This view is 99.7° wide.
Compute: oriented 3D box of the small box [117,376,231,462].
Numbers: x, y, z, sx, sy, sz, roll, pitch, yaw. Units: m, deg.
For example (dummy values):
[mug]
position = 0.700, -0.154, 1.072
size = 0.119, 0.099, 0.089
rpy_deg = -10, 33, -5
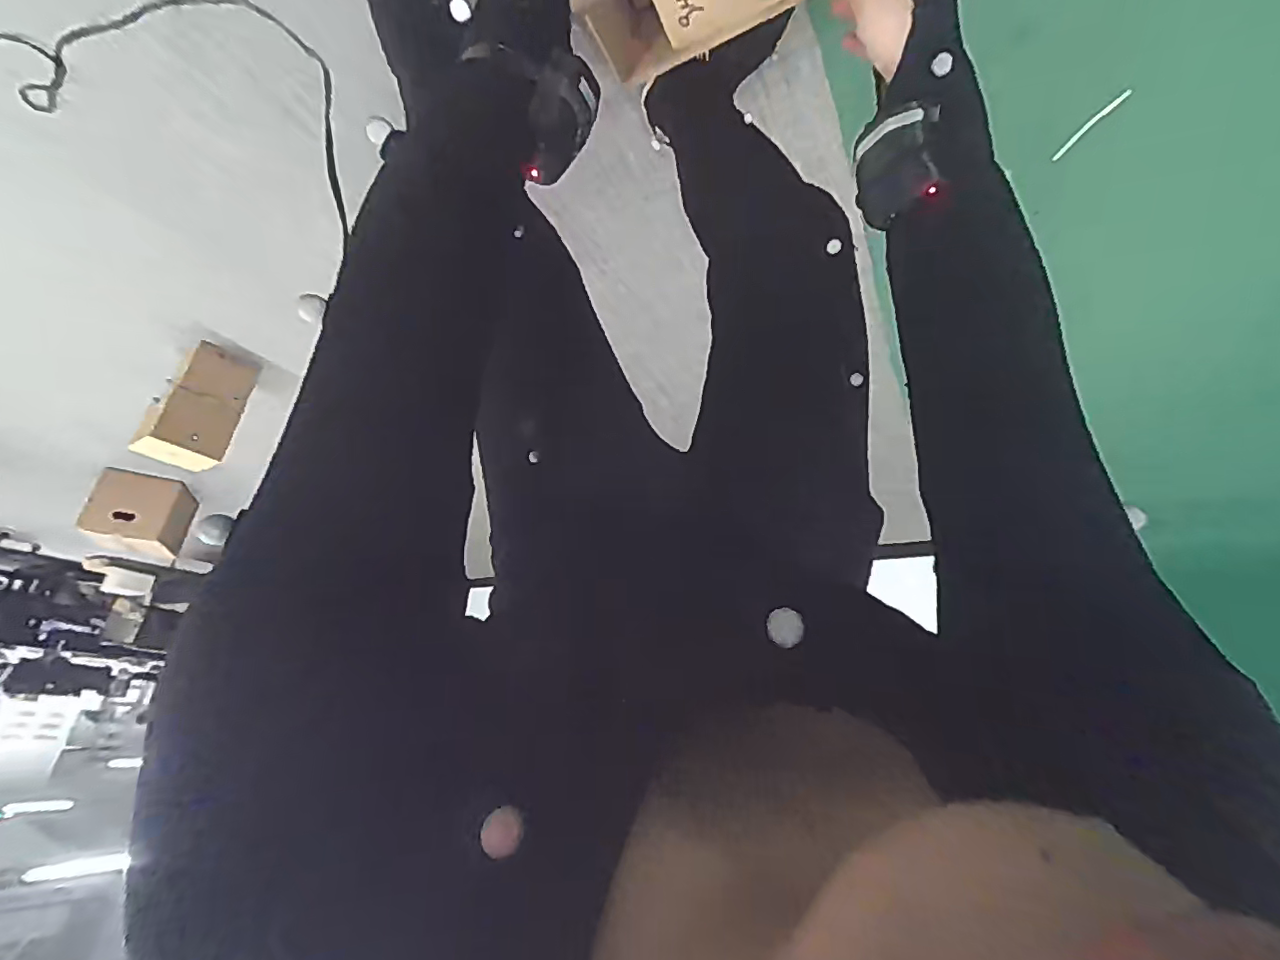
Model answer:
[small box]
position = -1.320, -0.171, 1.542
size = 0.168, 0.176, 0.179
rpy_deg = -11, 151, 30
